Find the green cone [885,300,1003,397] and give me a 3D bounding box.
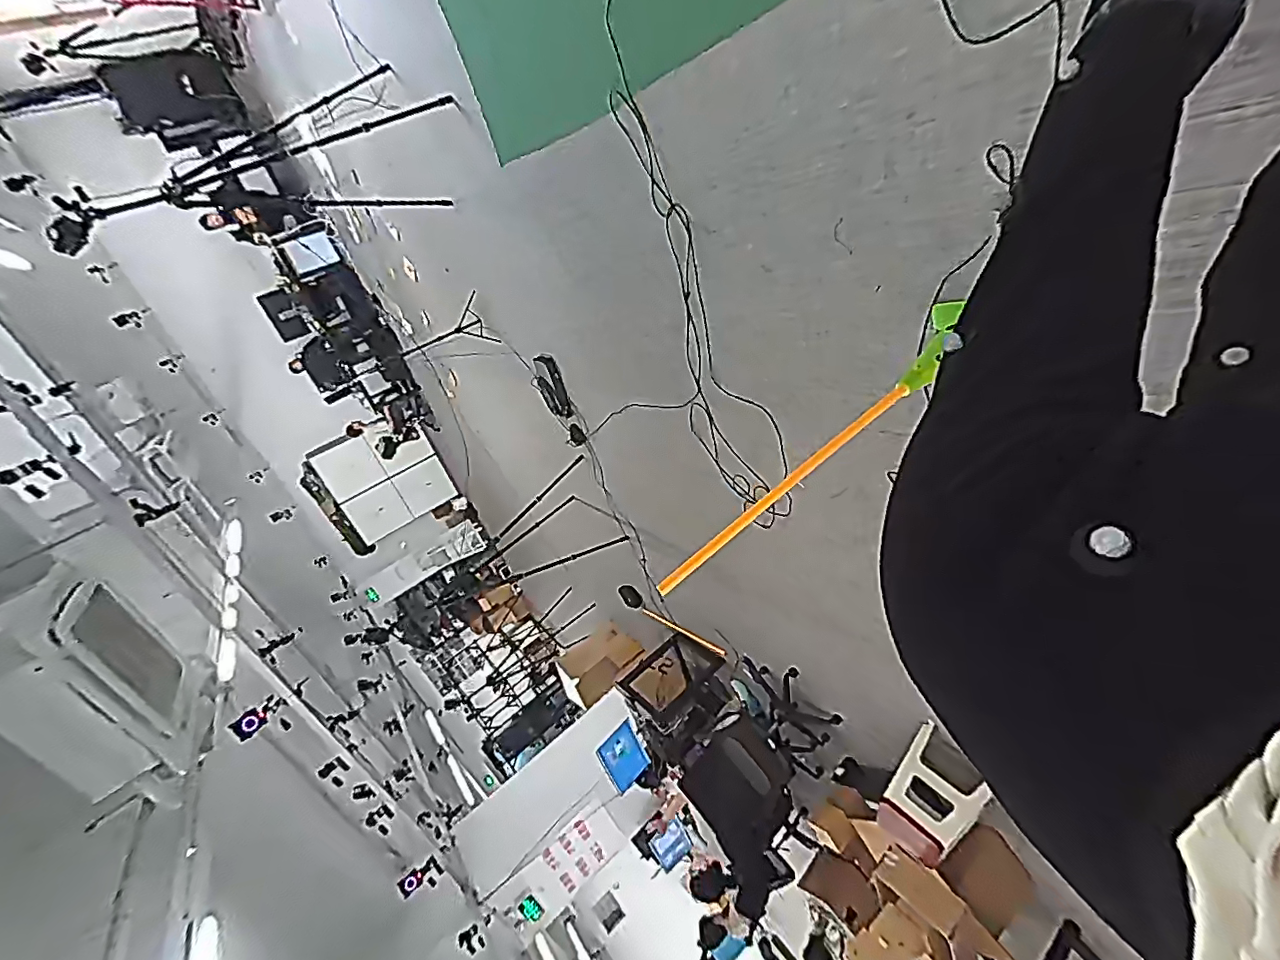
[{"bbox_3d":[0.805,-0.331,1.495,0.202,0.368,0.200,18,136,56],"label":"green cone"}]
